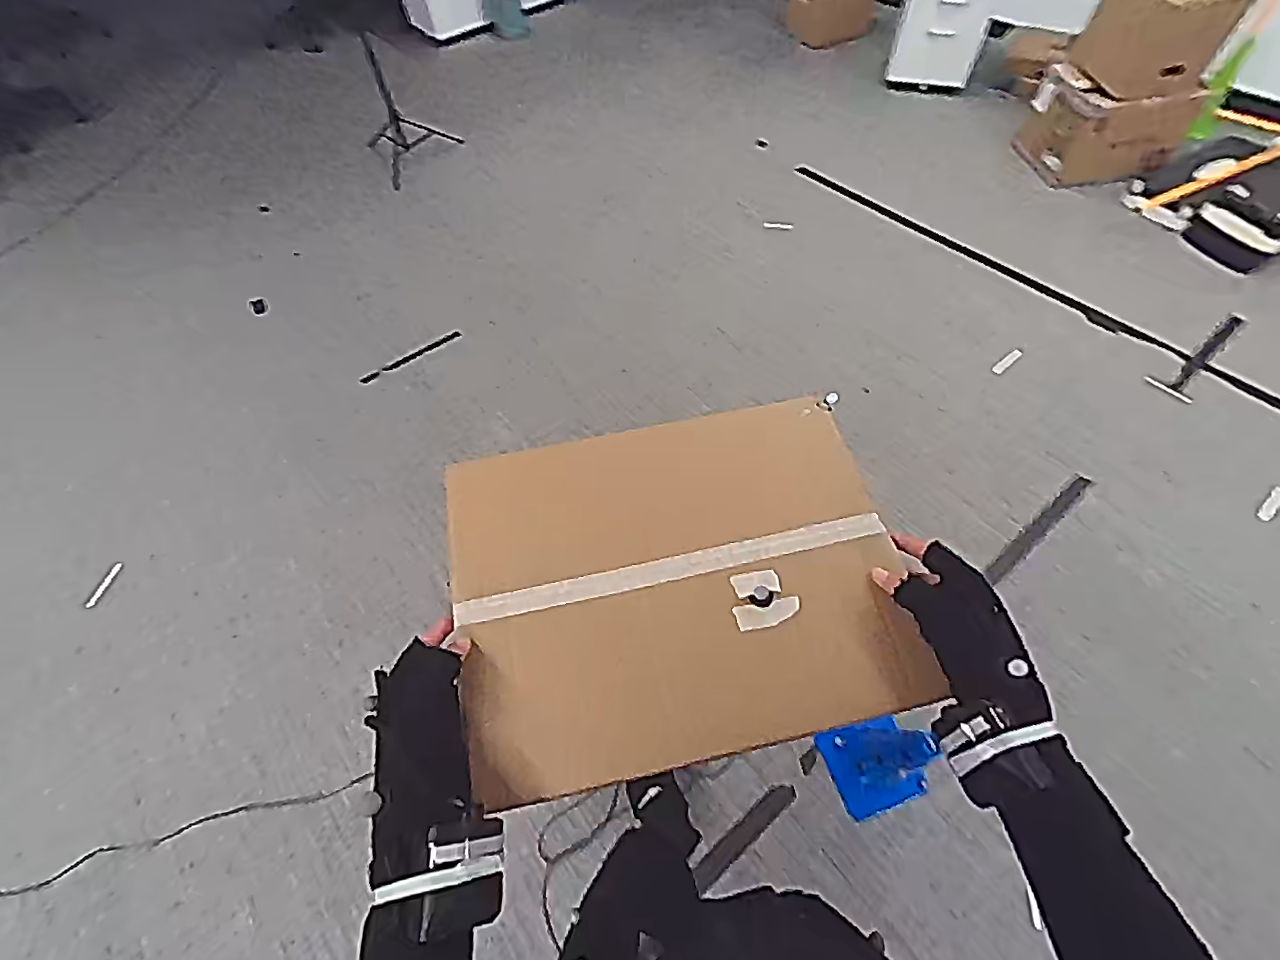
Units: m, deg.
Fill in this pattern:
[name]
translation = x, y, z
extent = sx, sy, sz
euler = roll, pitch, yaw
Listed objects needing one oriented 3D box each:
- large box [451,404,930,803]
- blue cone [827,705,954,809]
[large box]
translation = 0.029, 0.157, 0.648
extent = 0.408, 0.320, 0.320
euler = -12, 63, -5
[blue cone]
translation = 0.546, 0.562, 1.129
extent = 0.192, 0.380, 0.193
euler = -17, 59, -7
